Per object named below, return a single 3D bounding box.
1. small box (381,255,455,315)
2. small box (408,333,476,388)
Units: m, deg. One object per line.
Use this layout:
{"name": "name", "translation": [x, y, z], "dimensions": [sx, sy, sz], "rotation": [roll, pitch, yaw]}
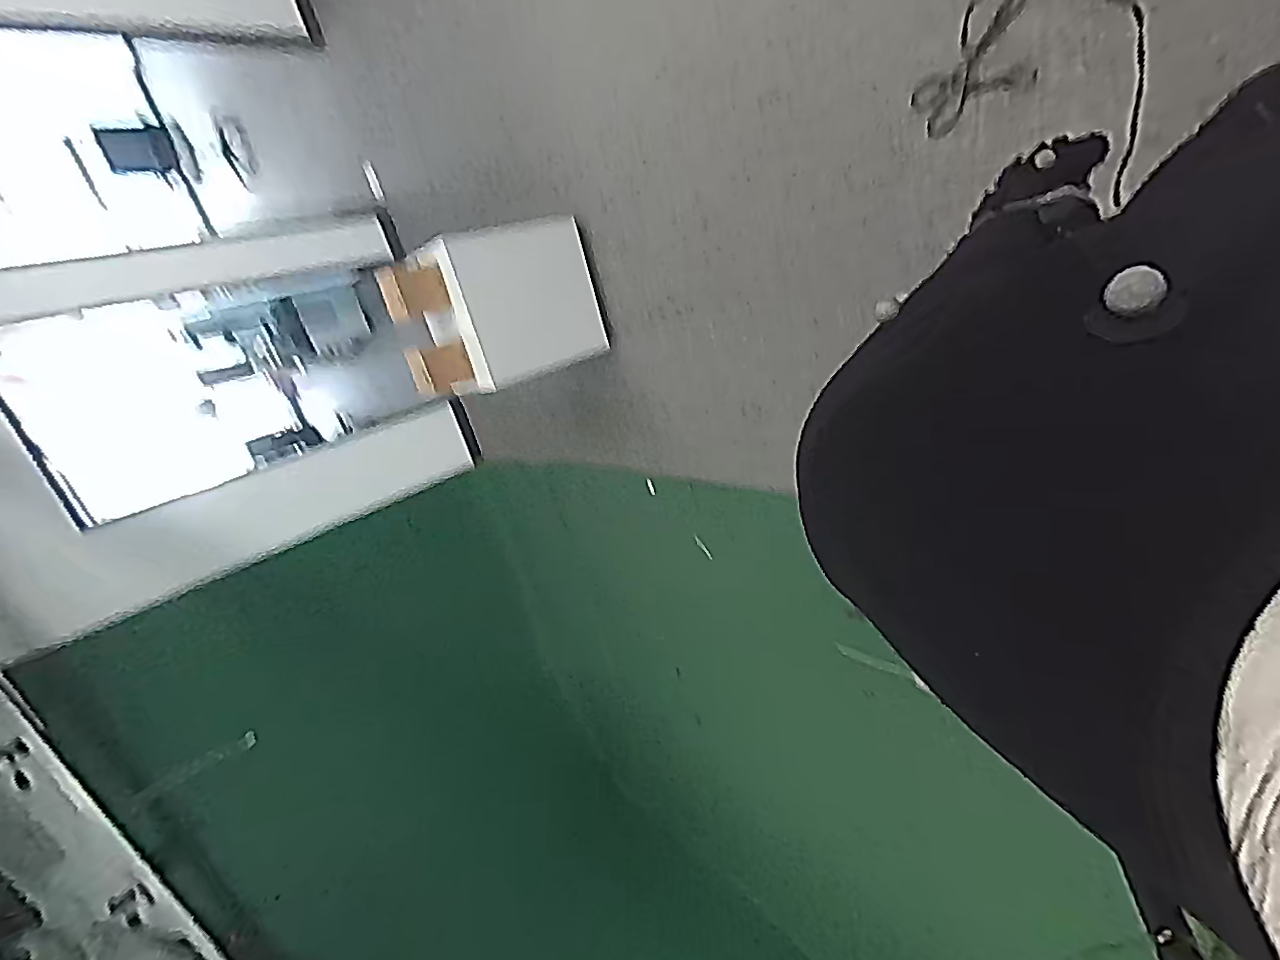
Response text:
{"name": "small box", "translation": [-0.787, -0.692, 1.924], "dimensions": [0.179, 0.176, 0.168], "rotation": [14, 125, 48]}
{"name": "small box", "translation": [-0.737, -0.450, 2.032], "dimensions": [0.179, 0.176, 0.168], "rotation": [11, 121, 50]}
